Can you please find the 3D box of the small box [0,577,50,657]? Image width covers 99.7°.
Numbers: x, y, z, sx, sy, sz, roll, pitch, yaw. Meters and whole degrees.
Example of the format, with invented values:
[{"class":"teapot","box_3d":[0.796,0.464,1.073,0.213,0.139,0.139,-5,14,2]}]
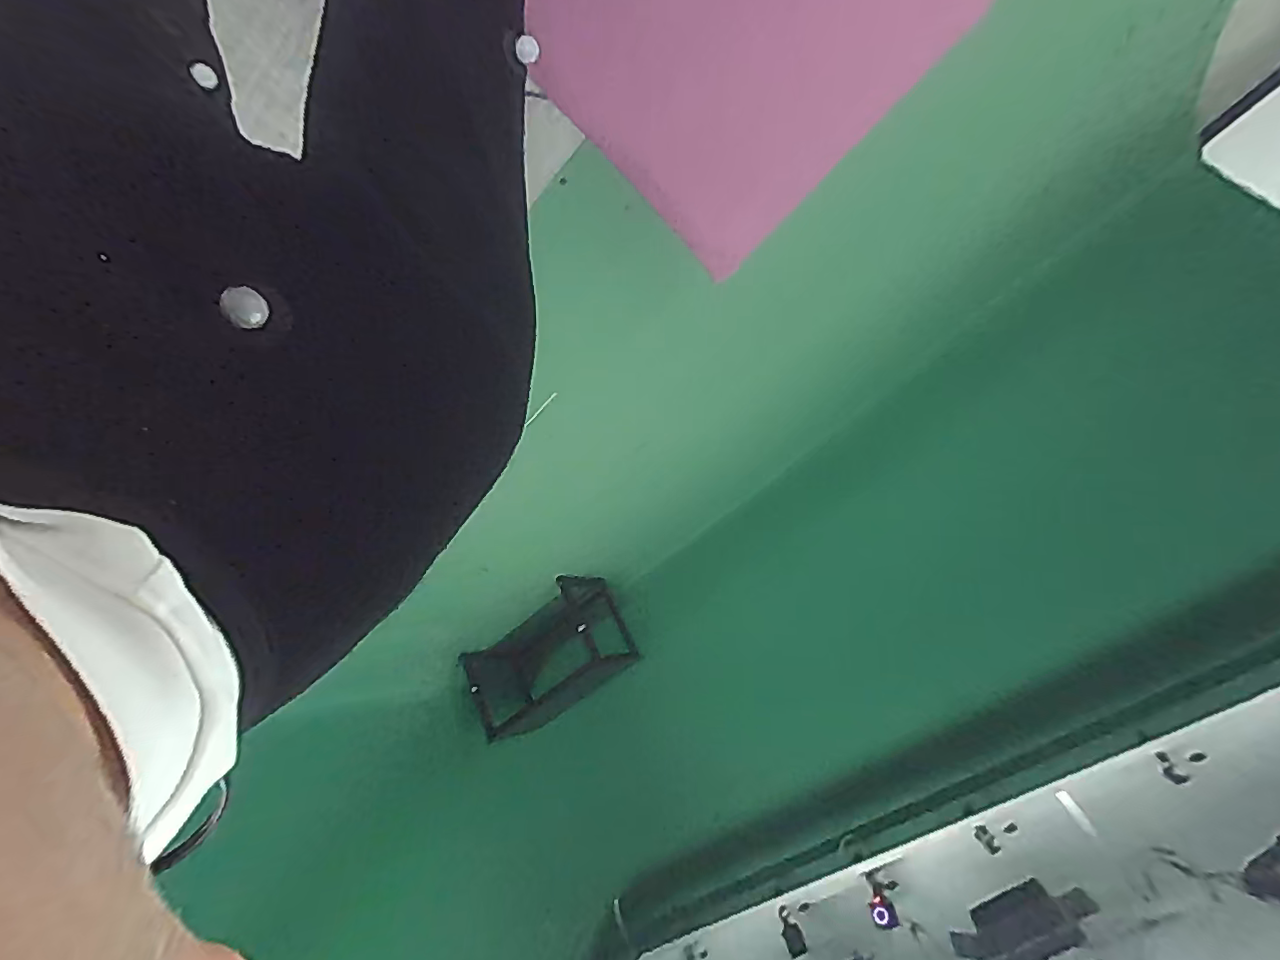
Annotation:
[{"class":"small box","box_3d":[-1.864,0.400,1.575,0.179,0.176,0.168,-41,150,20]}]
